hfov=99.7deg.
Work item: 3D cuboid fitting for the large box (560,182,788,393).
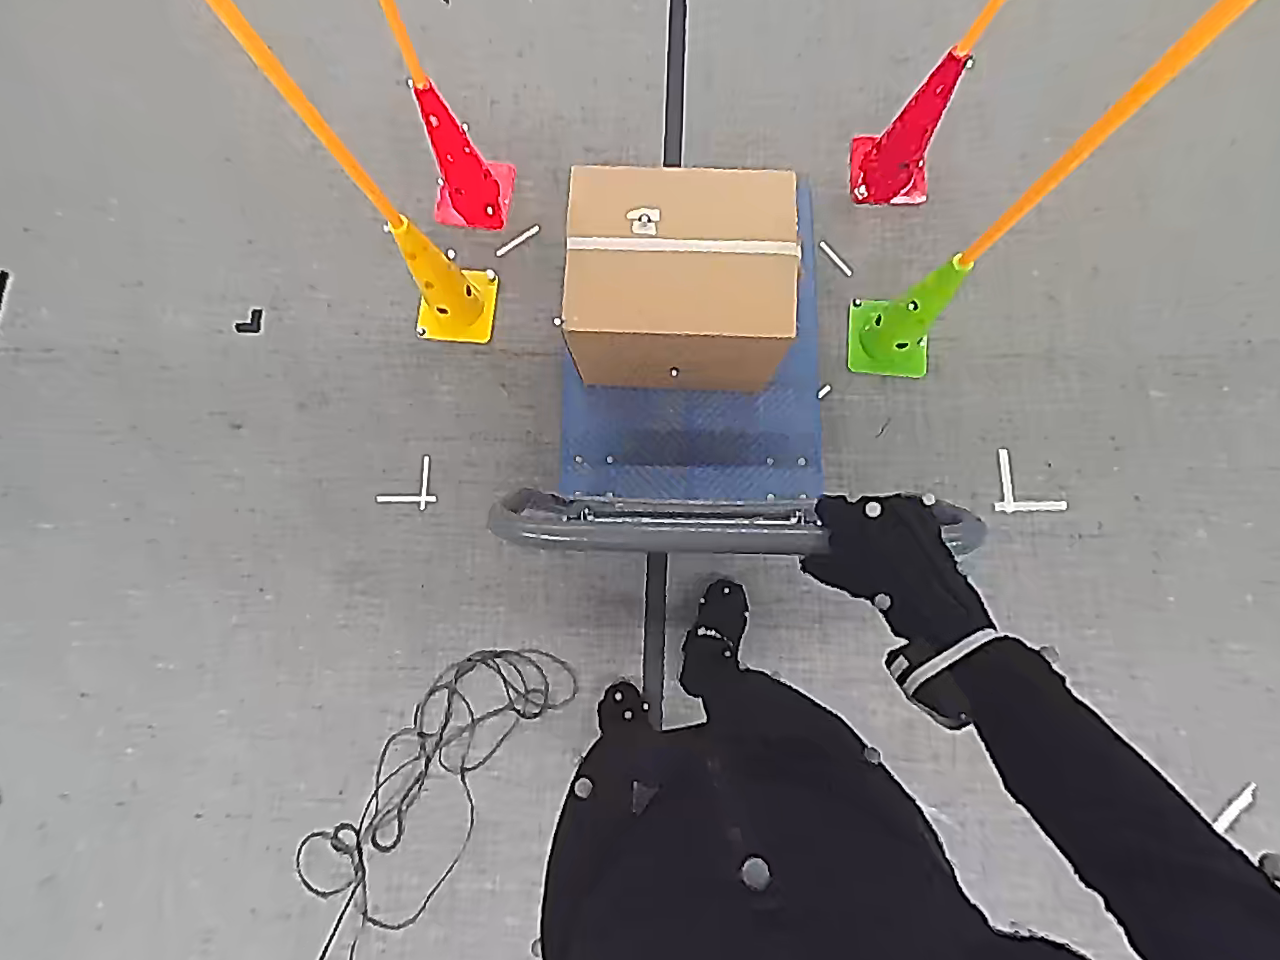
[{"bbox_3d":[0.069,-0.367,1.105,0.408,0.320,0.320,2,82,3],"label":"large box"}]

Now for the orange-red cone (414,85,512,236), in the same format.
[{"bbox_3d":[-0.468,-0.808,1.337,0.198,0.360,0.199,9,80,2],"label":"orange-red cone"}]

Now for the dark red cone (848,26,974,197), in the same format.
[{"bbox_3d":[0.663,-0.877,1.293,0.201,0.394,0.202,1,82,0],"label":"dark red cone"}]

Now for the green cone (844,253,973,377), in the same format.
[{"bbox_3d":[0.632,-0.396,1.236,0.202,0.368,0.200,5,81,1],"label":"green cone"}]
